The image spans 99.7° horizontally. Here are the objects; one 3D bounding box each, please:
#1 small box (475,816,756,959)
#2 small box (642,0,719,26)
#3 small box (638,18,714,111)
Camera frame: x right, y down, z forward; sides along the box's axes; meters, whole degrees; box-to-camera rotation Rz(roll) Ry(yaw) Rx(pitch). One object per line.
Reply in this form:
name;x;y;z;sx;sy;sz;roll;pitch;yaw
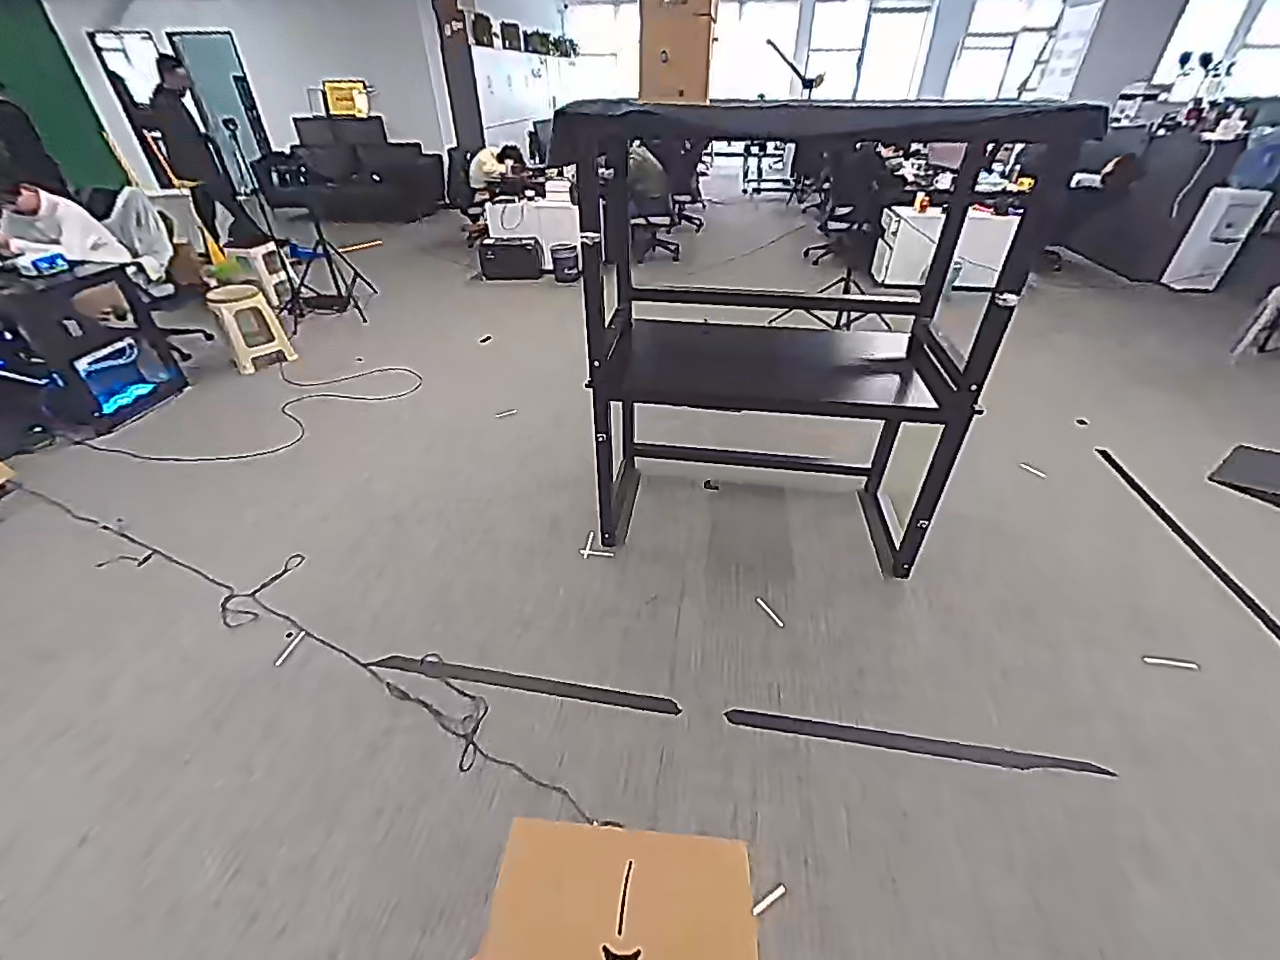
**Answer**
small box;-0.018;0.354;0.342;0.168;0.176;0.179;5;30;2
small box;0.095;-1.141;1.227;0.168;0.176;0.179;5;35;9
small box;0.089;-1.007;1.319;0.168;0.176;0.179;5;34;6
